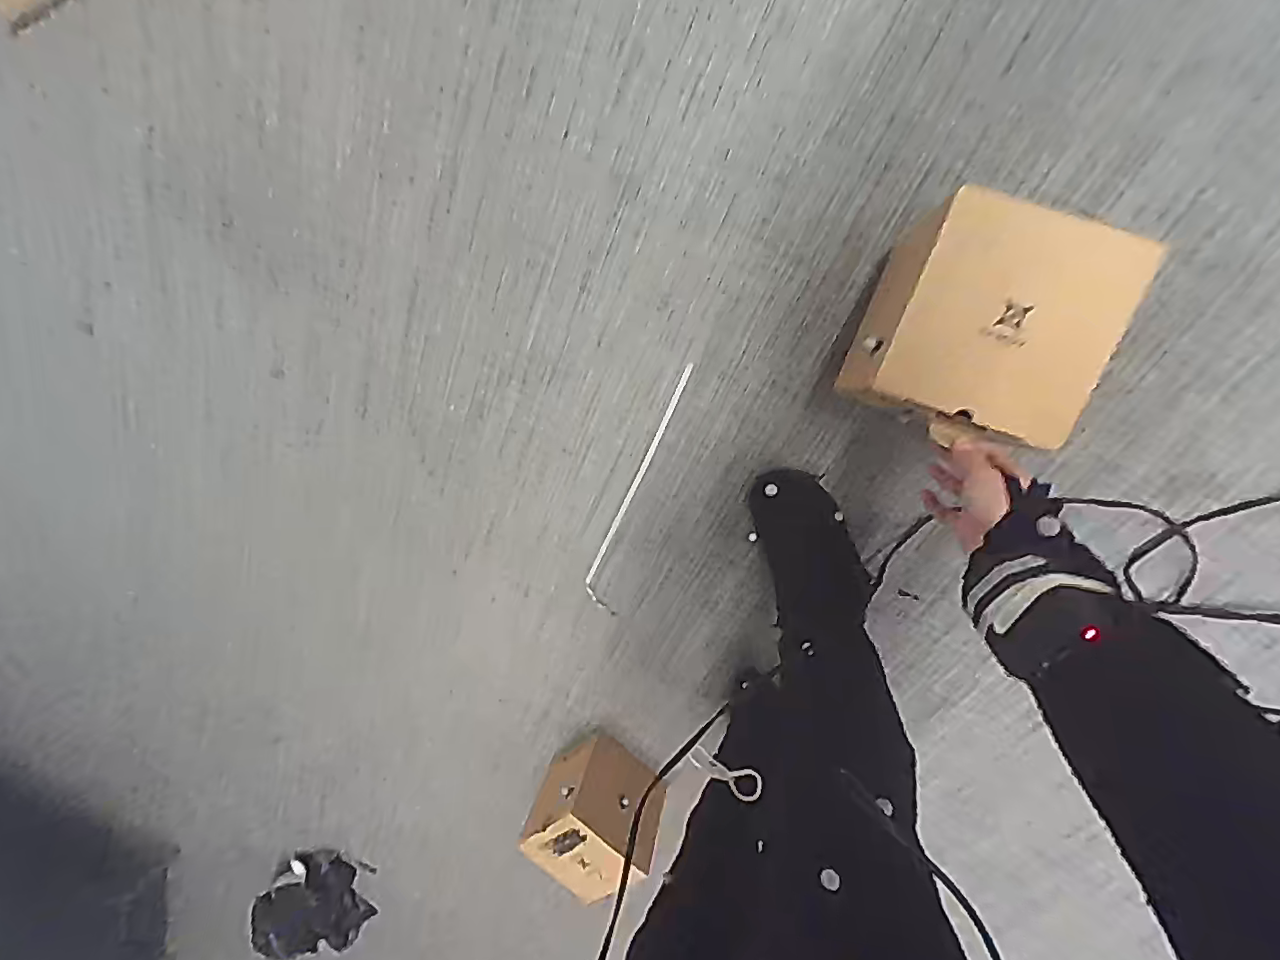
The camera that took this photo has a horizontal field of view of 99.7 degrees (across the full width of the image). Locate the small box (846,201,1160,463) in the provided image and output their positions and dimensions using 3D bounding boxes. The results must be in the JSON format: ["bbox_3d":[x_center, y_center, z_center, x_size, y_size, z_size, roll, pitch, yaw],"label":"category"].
[{"bbox_3d":[0.324,-0.134,0.531,0.168,0.176,0.179,21,102,5],"label":"small box"}]
